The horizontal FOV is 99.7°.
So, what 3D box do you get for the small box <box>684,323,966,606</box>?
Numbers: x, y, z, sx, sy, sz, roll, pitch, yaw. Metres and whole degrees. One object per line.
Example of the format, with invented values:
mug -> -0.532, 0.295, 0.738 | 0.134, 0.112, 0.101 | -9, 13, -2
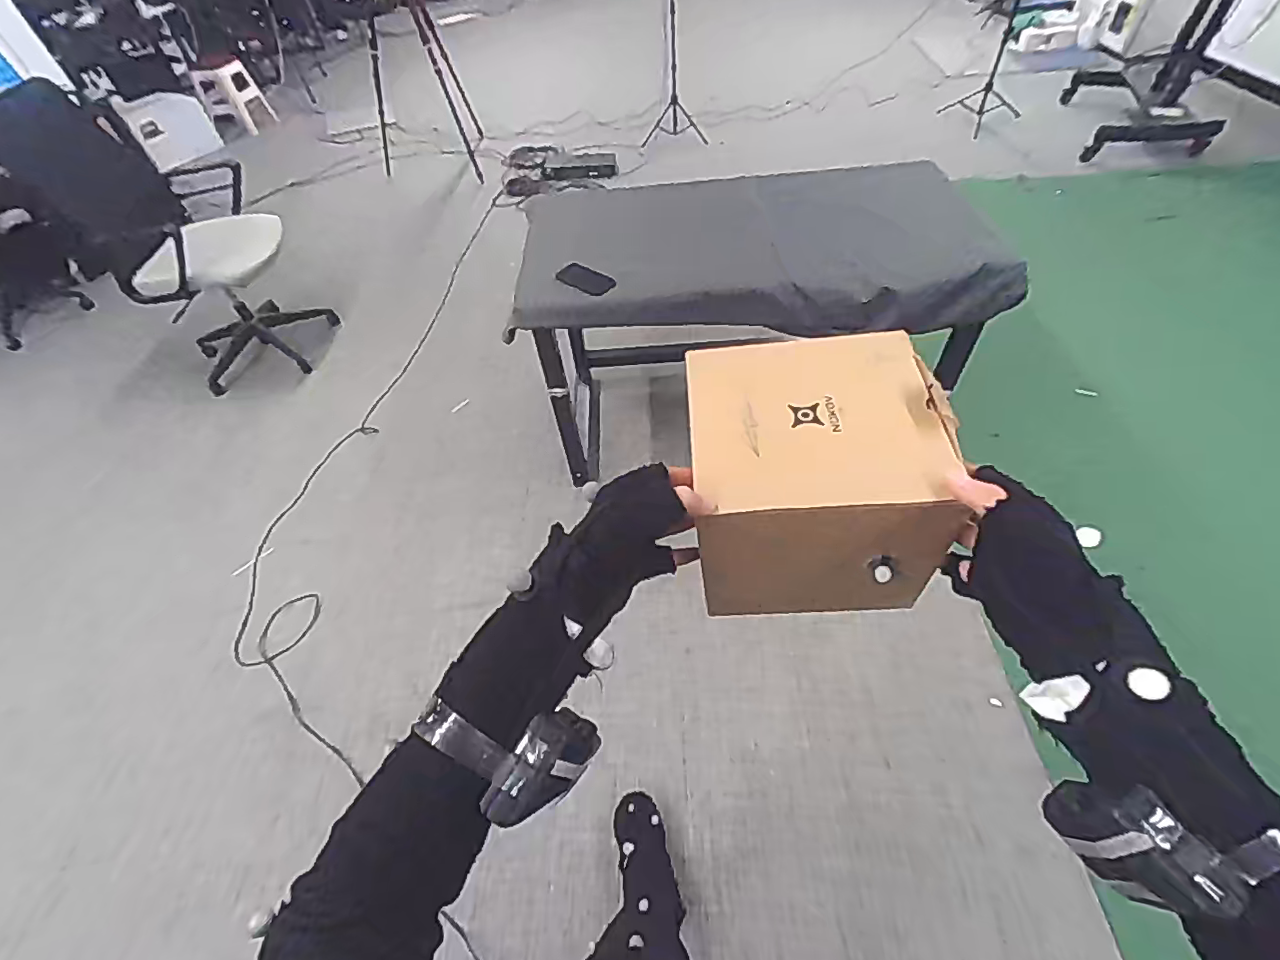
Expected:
small box -> 0.131, -0.005, 0.455 | 0.179, 0.176, 0.168 | -5, 52, 8
